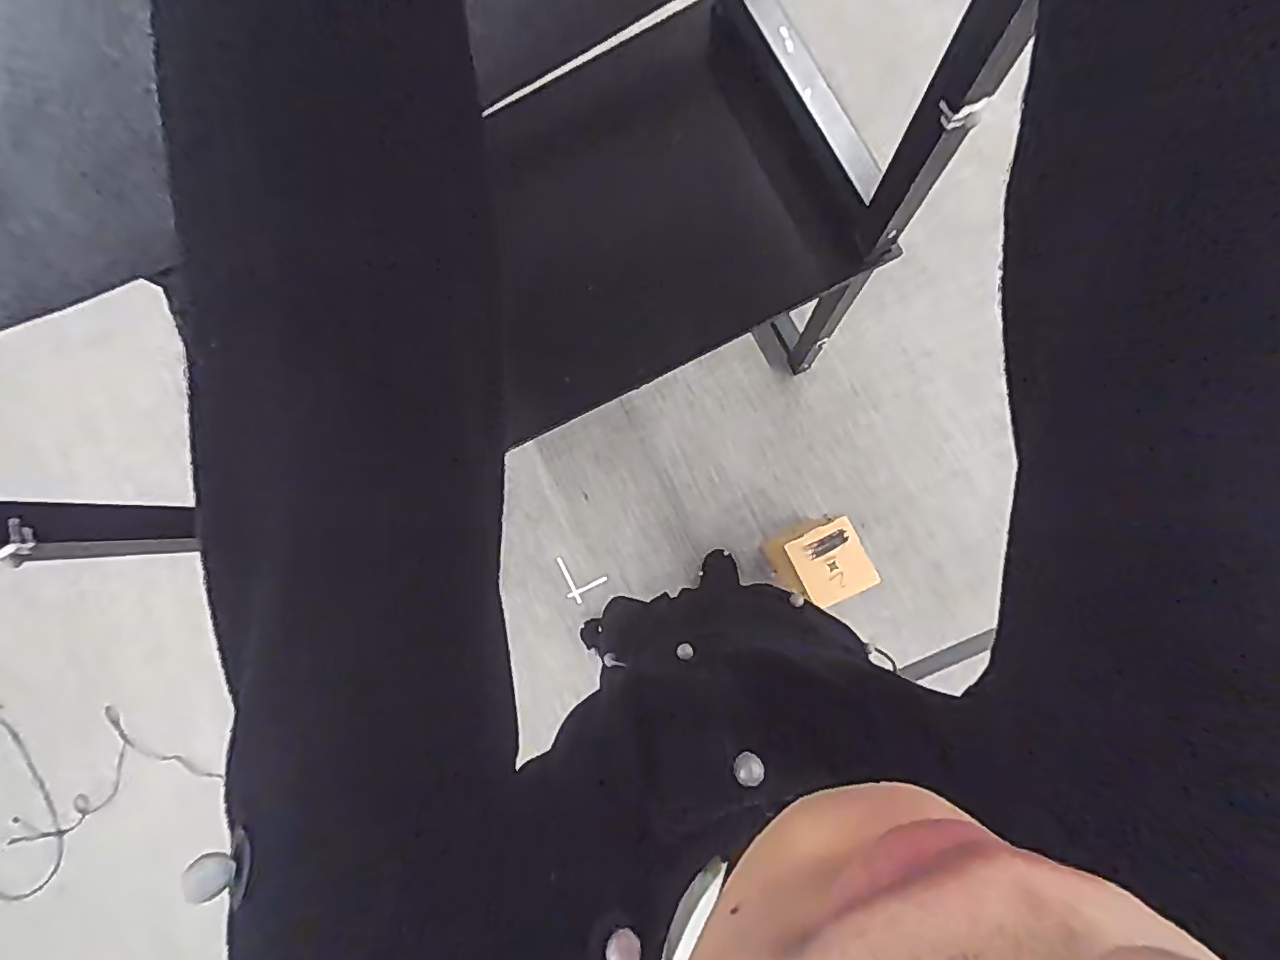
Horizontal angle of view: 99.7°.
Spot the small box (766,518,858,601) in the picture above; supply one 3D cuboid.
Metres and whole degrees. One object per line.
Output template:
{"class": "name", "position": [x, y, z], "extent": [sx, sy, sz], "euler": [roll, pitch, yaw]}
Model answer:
{"class": "small box", "position": [0.469, 0.214, 1.505], "extent": [0.179, 0.176, 0.168], "euler": [-28, 83, 4]}
